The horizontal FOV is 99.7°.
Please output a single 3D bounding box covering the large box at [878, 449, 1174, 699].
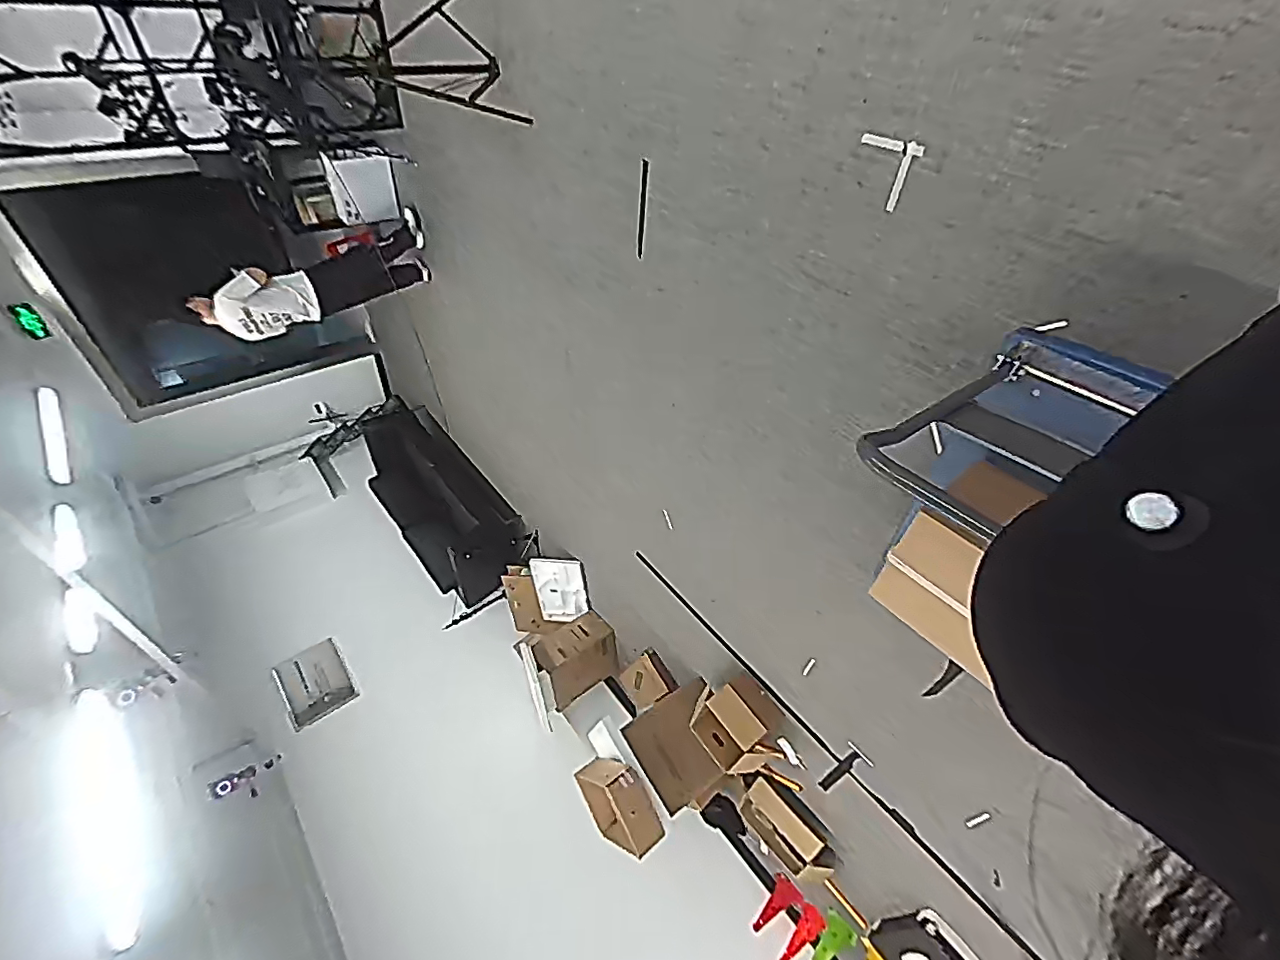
[{"bbox_3d":[0.849,0.193,1.235,0.408,0.320,0.320,40,144,31],"label":"large box"}]
